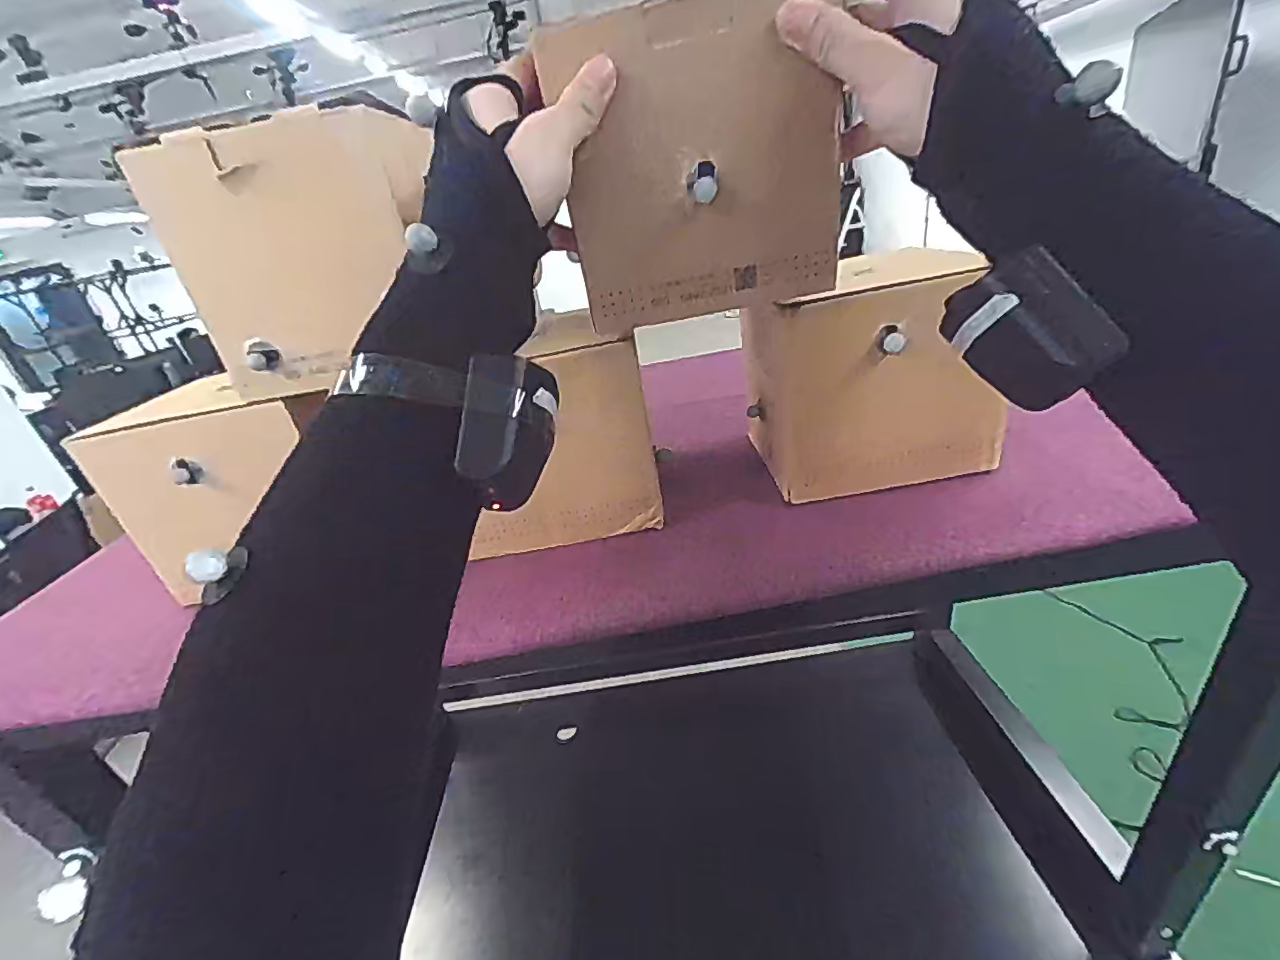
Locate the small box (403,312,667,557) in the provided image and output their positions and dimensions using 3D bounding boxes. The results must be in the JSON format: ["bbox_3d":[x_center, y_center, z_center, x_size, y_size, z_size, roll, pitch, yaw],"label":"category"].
[{"bbox_3d":[-0.078,-0.046,0.500,0.179,0.176,0.168,-10,27,3],"label":"small box"}]

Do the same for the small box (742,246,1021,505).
[{"bbox_3d":[0.195,-0.098,0.488,0.179,0.176,0.168,-12,26,4],"label":"small box"}]

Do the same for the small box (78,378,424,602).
[{"bbox_3d":[-0.342,-0.003,0.522,0.179,0.176,0.168,-11,28,2],"label":"small box"}]

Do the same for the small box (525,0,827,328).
[{"bbox_3d":[0.031,-0.222,0.390,0.168,0.176,0.179,-10,35,4],"label":"small box"}]

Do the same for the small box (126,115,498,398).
[{"bbox_3d":[-0.232,-0.173,0.444,0.168,0.176,0.179,-9,27,4],"label":"small box"}]
